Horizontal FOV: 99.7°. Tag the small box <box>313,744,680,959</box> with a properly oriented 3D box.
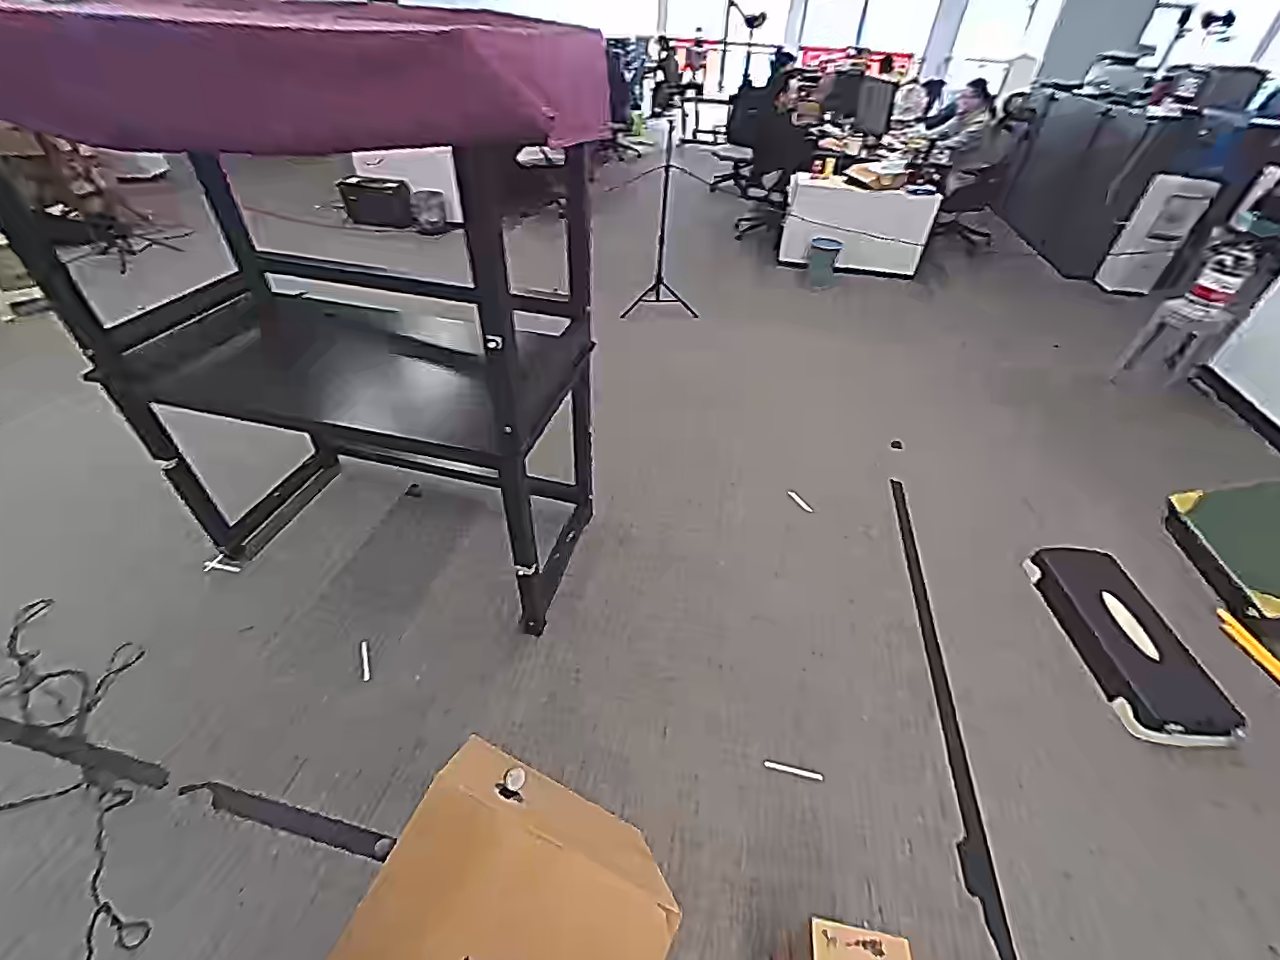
[{"bbox_3d":[-0.101,0.304,0.372,0.179,0.176,0.168,30,70,0],"label":"small box"}]

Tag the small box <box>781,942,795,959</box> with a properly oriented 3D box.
[{"bbox_3d":[0.350,1.016,1.016,0.179,0.176,0.168,13,42,10],"label":"small box"}]

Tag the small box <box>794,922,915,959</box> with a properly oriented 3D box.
[{"bbox_3d":[0.361,0.889,0.911,0.168,0.176,0.179,9,42,6],"label":"small box"}]
